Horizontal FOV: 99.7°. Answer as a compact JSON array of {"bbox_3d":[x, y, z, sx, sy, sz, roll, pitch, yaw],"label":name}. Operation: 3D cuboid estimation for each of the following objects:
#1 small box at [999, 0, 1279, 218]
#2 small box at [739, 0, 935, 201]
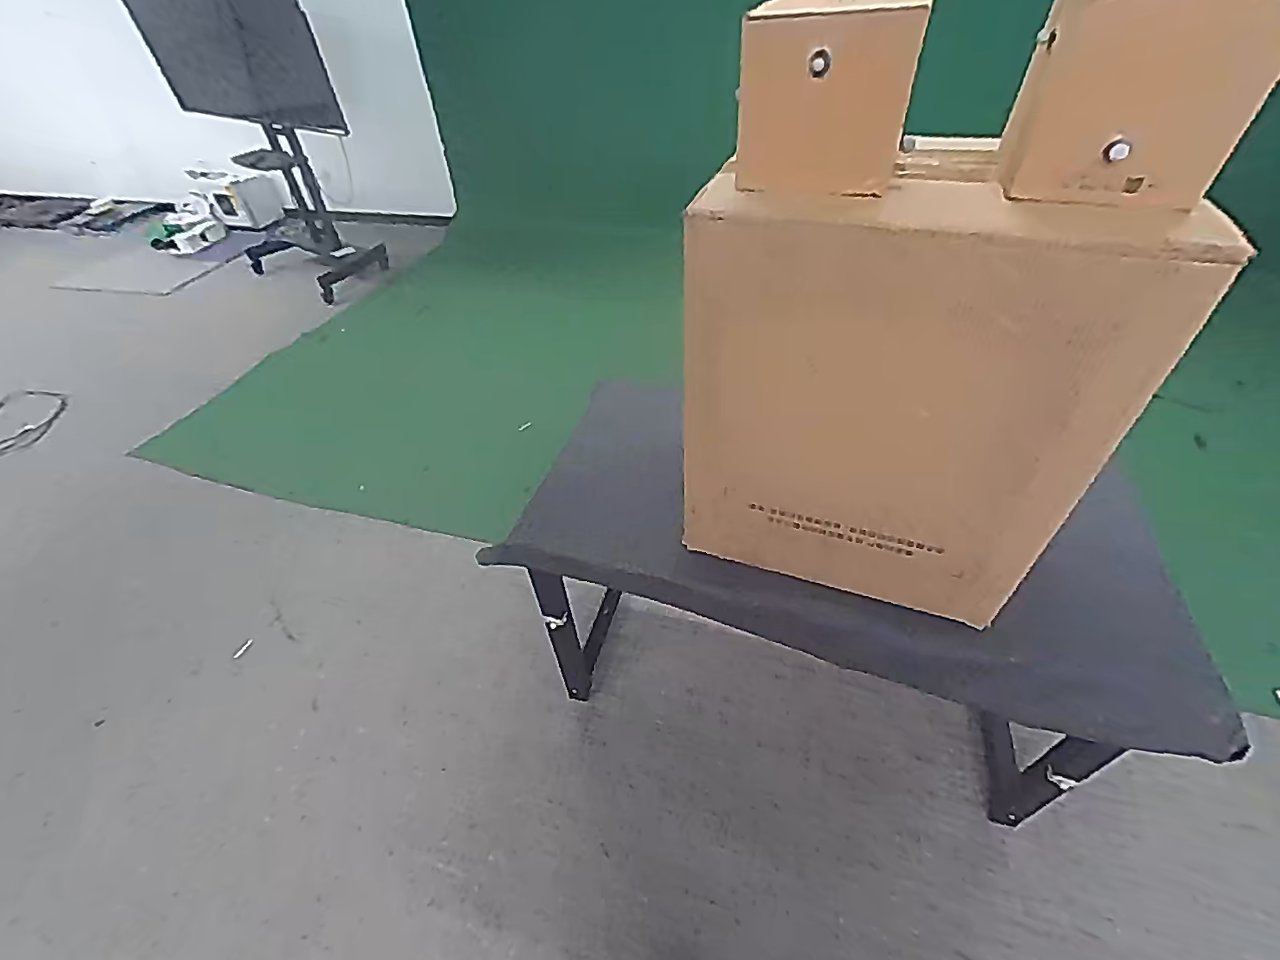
[{"bbox_3d":[0.494,-0.393,0.553,0.168,0.176,0.179,14,49,16],"label":"small box"},{"bbox_3d":[0.220,-0.442,0.628,0.179,0.176,0.168,14,50,16],"label":"small box"}]
